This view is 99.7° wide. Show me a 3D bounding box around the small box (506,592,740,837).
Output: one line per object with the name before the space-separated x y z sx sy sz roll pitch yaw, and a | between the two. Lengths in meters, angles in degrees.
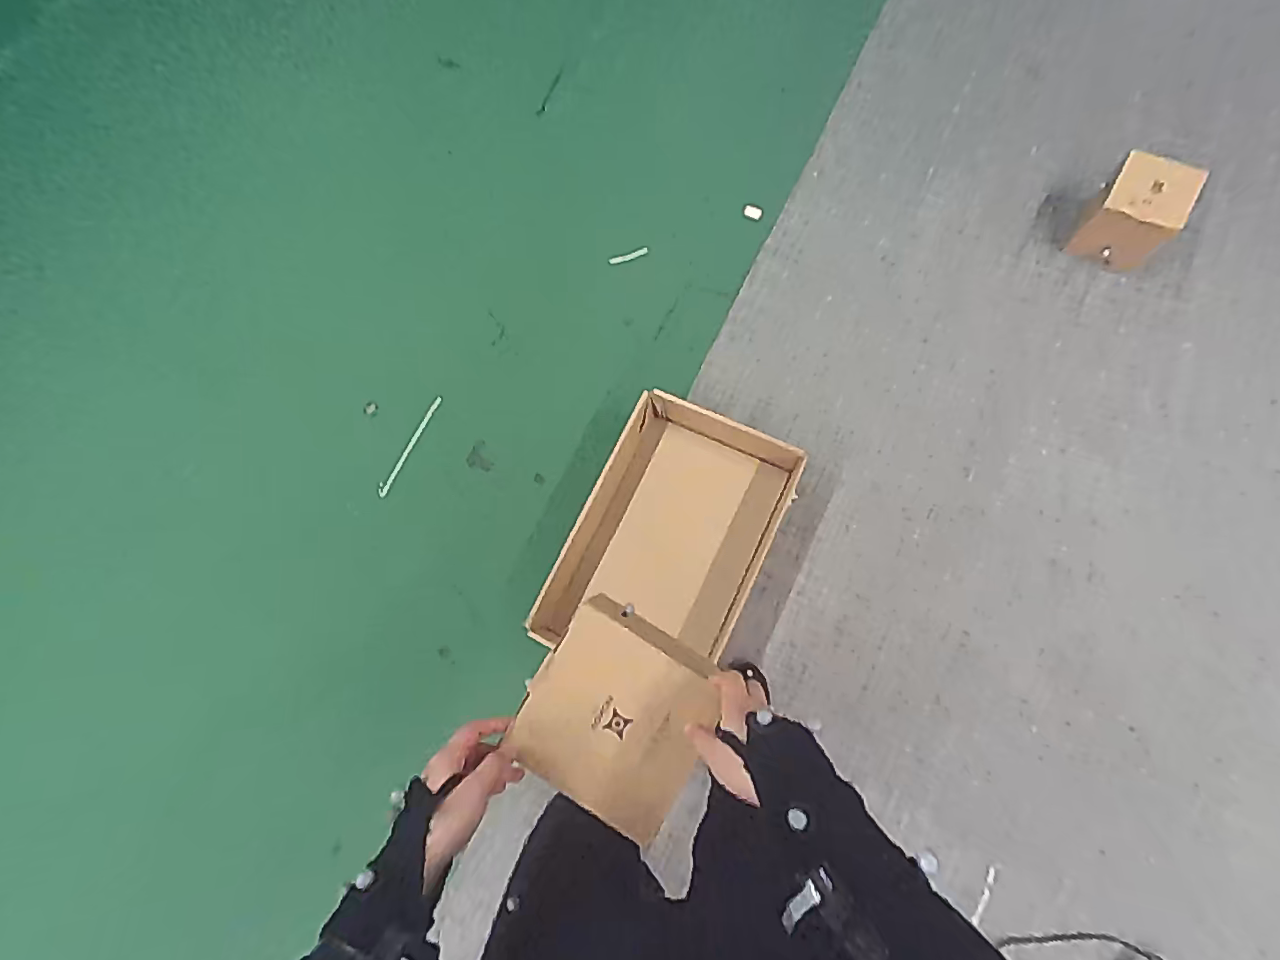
small box | -0.015 0.237 0.603 0.179 0.176 0.168 30 84 5

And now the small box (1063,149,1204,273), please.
small box | 1.182 -0.645 1.311 0.168 0.176 0.179 29 81 14
